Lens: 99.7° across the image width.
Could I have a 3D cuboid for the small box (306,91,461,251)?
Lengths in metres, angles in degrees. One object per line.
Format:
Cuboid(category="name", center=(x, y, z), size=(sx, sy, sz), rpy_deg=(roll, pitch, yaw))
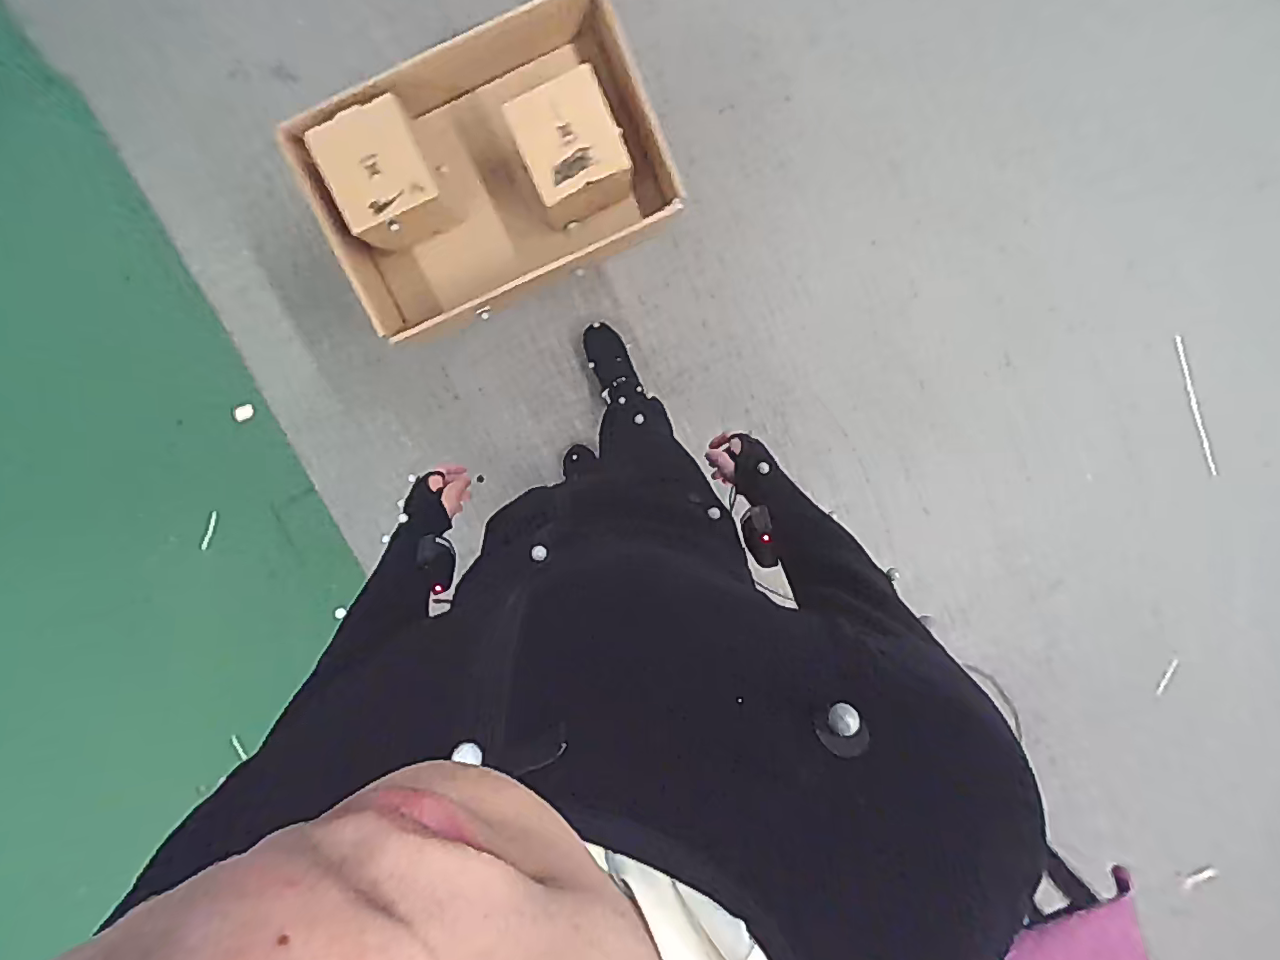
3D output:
Cuboid(category="small box", center=(-0.453, -0.548, 0.984), size=(0.168, 0.176, 0.179), rpy_deg=(-22, 101, 1))
